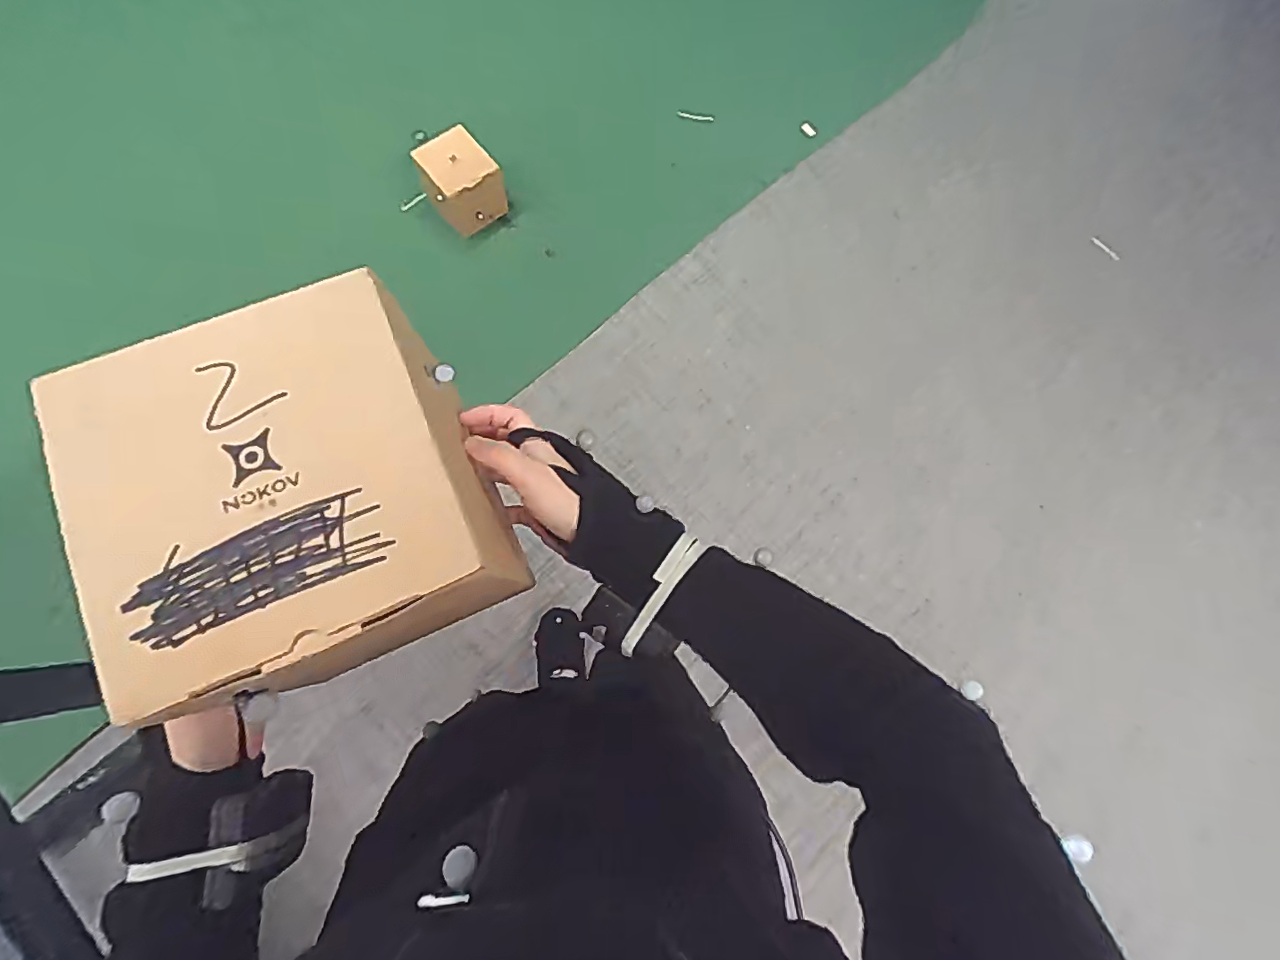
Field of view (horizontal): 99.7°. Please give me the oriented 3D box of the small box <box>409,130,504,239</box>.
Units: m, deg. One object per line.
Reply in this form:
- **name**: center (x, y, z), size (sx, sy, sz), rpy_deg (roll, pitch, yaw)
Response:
- **small box**: center (-0.507, -0.822, 1.517), size (0.168, 0.176, 0.179), rpy_deg (-40, 83, -13)
